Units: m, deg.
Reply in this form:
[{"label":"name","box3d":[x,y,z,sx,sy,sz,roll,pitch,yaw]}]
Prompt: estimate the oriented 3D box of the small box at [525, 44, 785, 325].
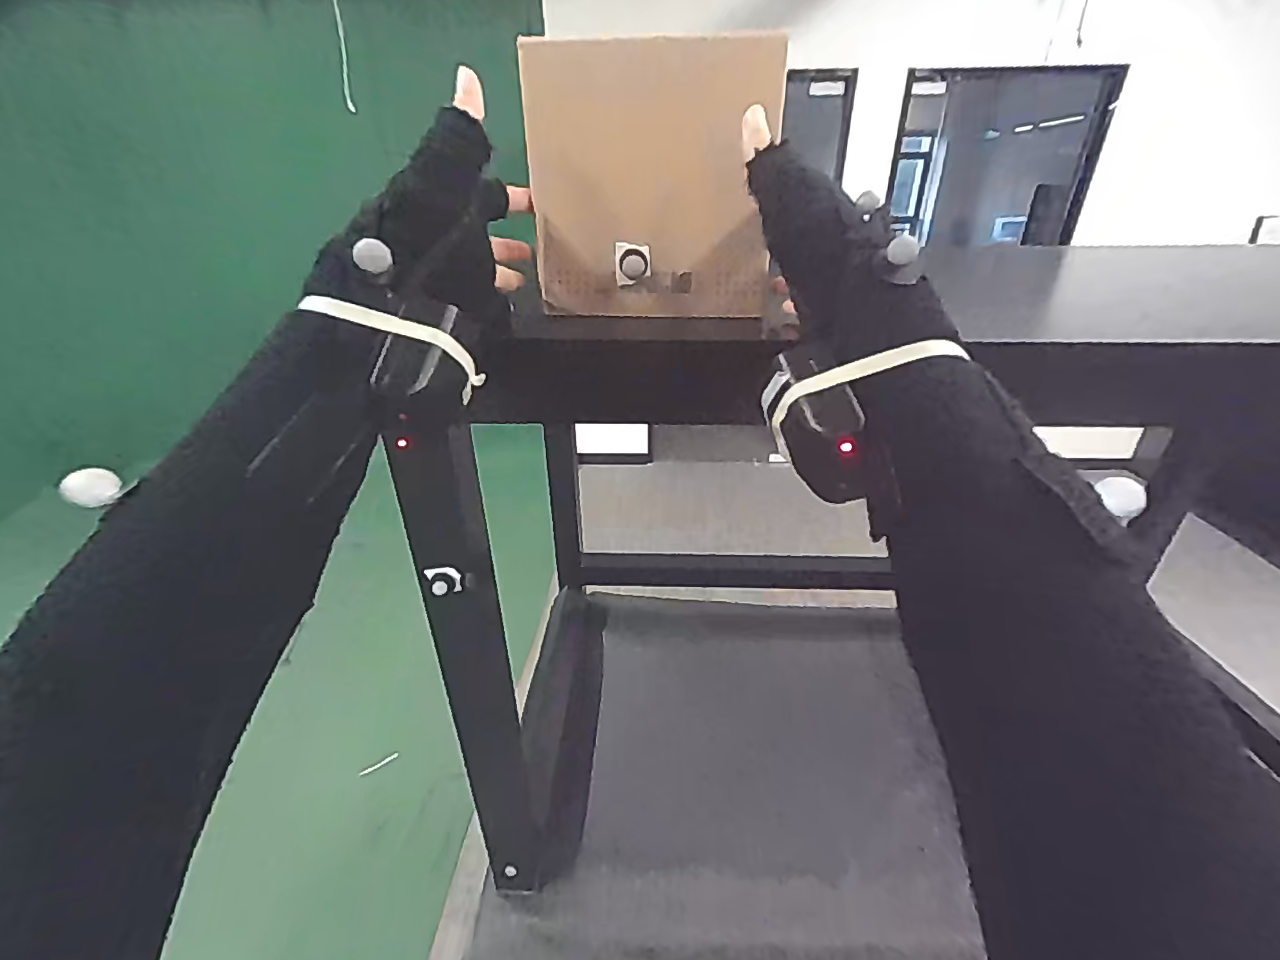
[{"label":"small box","box3d":[0.013,-0.231,0.442,0.168,0.176,0.179,1,28,4]}]
